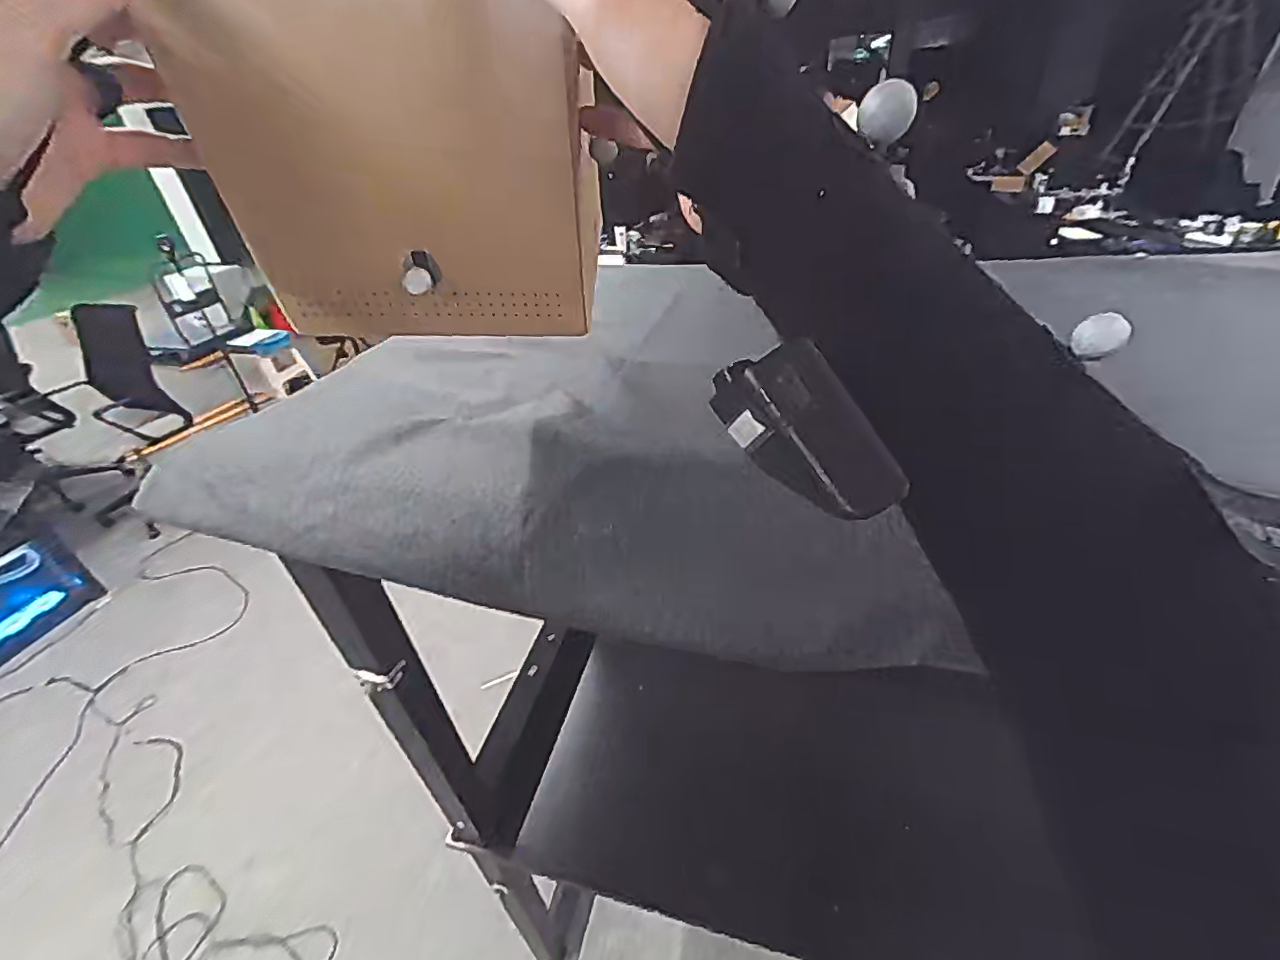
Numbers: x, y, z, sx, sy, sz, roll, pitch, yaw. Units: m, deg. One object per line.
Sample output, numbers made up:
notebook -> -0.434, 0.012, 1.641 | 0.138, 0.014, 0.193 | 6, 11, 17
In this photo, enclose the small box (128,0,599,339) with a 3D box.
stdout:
small box -> -0.116, -0.196, 0.315 | 0.179, 0.176, 0.168 | 1, 46, -1
